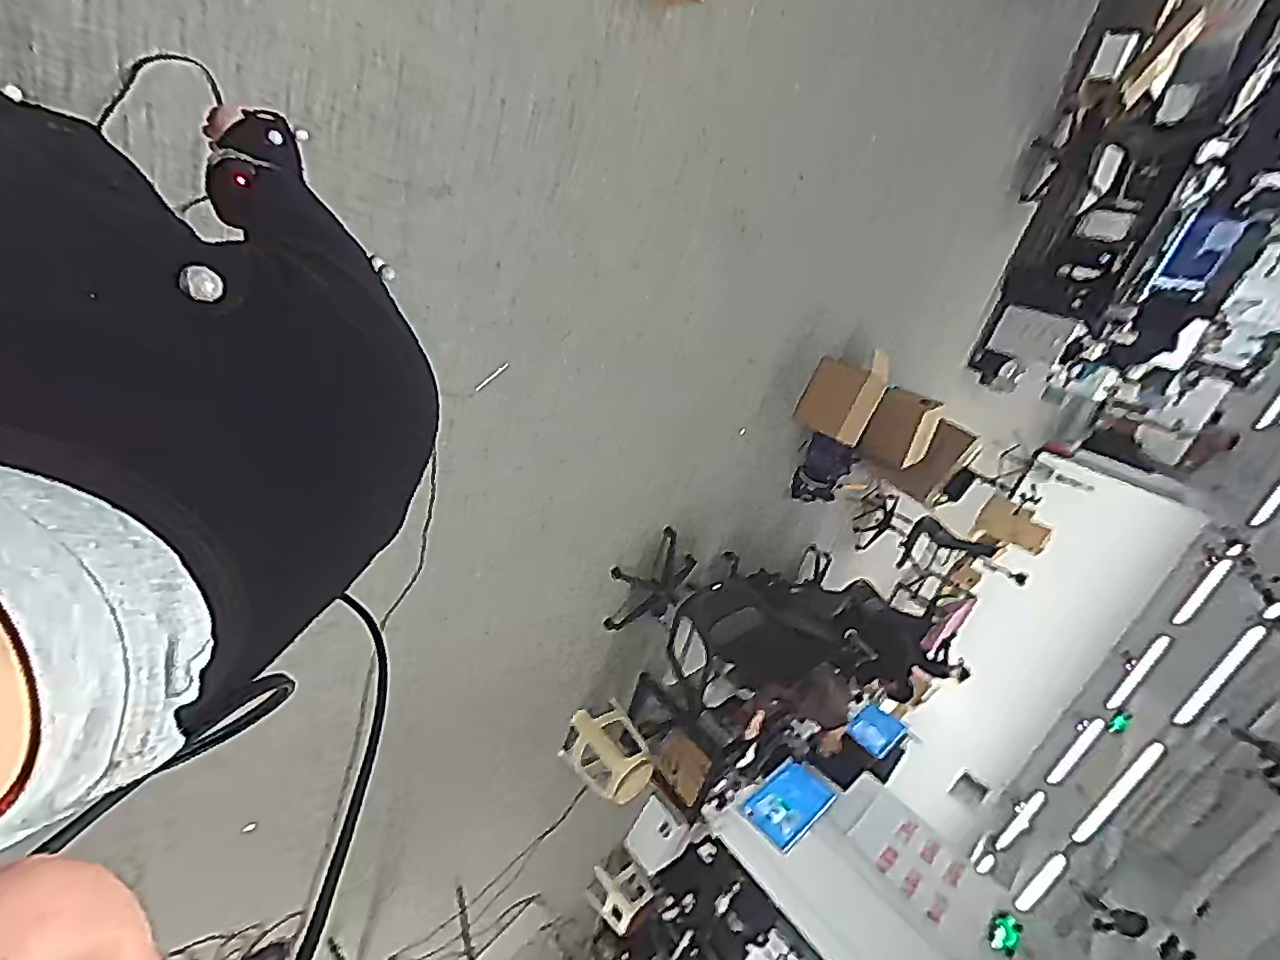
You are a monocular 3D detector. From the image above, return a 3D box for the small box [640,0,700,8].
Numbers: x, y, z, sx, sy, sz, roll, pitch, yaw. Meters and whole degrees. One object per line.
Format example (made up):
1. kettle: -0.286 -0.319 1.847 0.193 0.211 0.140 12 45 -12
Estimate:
1. small box: 0.061 -1.409 1.461 0.179 0.176 0.168 -18 129 -41
